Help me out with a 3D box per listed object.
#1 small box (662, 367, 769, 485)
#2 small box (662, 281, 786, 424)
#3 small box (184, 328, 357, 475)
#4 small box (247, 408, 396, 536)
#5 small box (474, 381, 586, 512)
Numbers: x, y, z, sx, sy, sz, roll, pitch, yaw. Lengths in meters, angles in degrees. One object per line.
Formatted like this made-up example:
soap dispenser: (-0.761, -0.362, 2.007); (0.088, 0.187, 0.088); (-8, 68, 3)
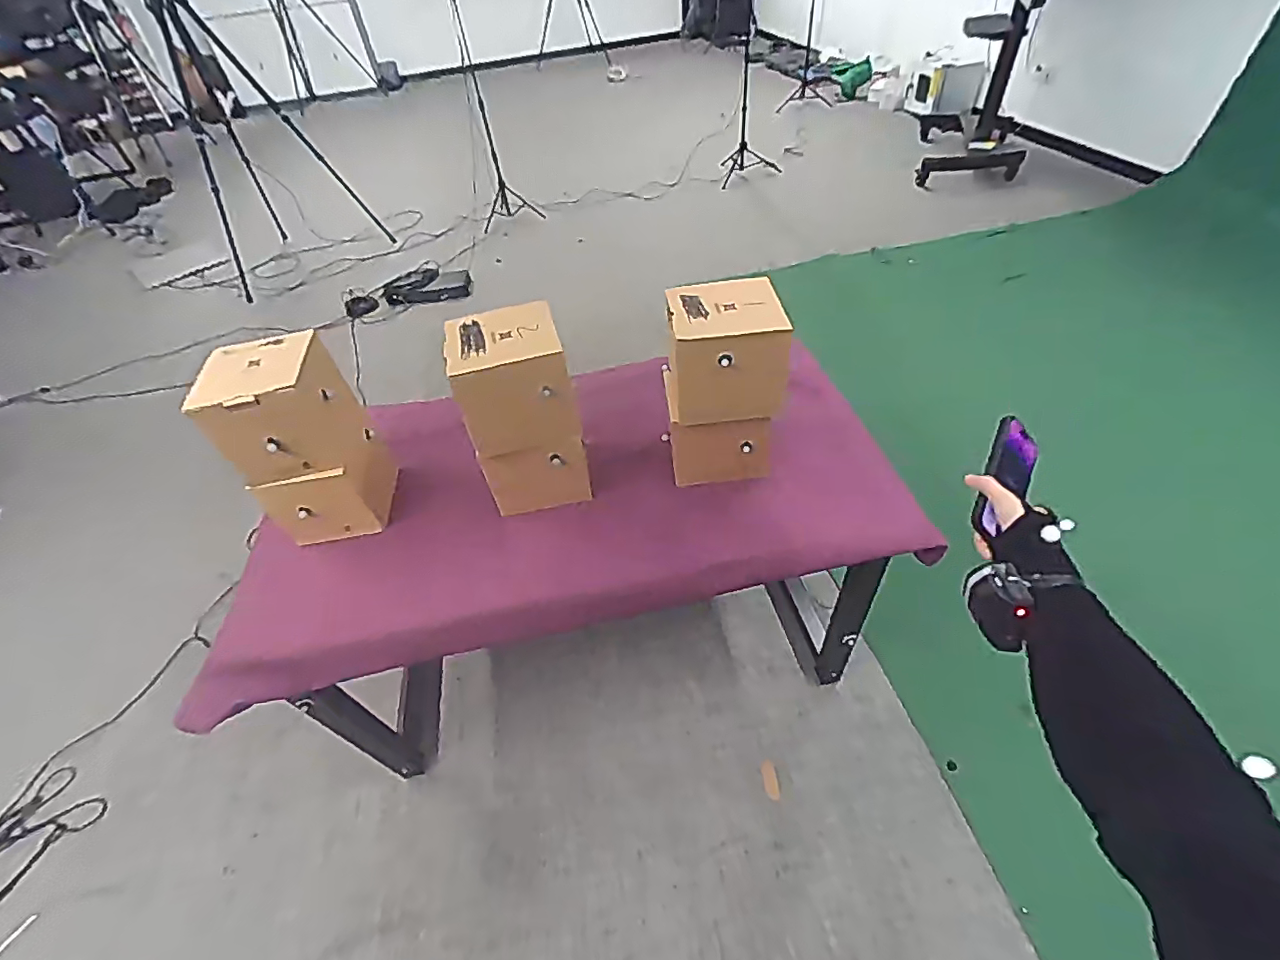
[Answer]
small box: (0.138, -0.107, 1.034); (0.179, 0.176, 0.168); (-6, 47, 2)
small box: (0.134, -0.209, 0.904); (0.179, 0.176, 0.168); (-5, 47, 1)
small box: (-0.604, -0.126, 0.913); (0.168, 0.176, 0.179); (-13, 48, -6)
small box: (-0.588, -0.009, 1.027); (0.168, 0.176, 0.179); (-9, 47, -2)
small box: (-0.200, -0.061, 1.028); (0.179, 0.176, 0.168); (-10, 47, -2)
